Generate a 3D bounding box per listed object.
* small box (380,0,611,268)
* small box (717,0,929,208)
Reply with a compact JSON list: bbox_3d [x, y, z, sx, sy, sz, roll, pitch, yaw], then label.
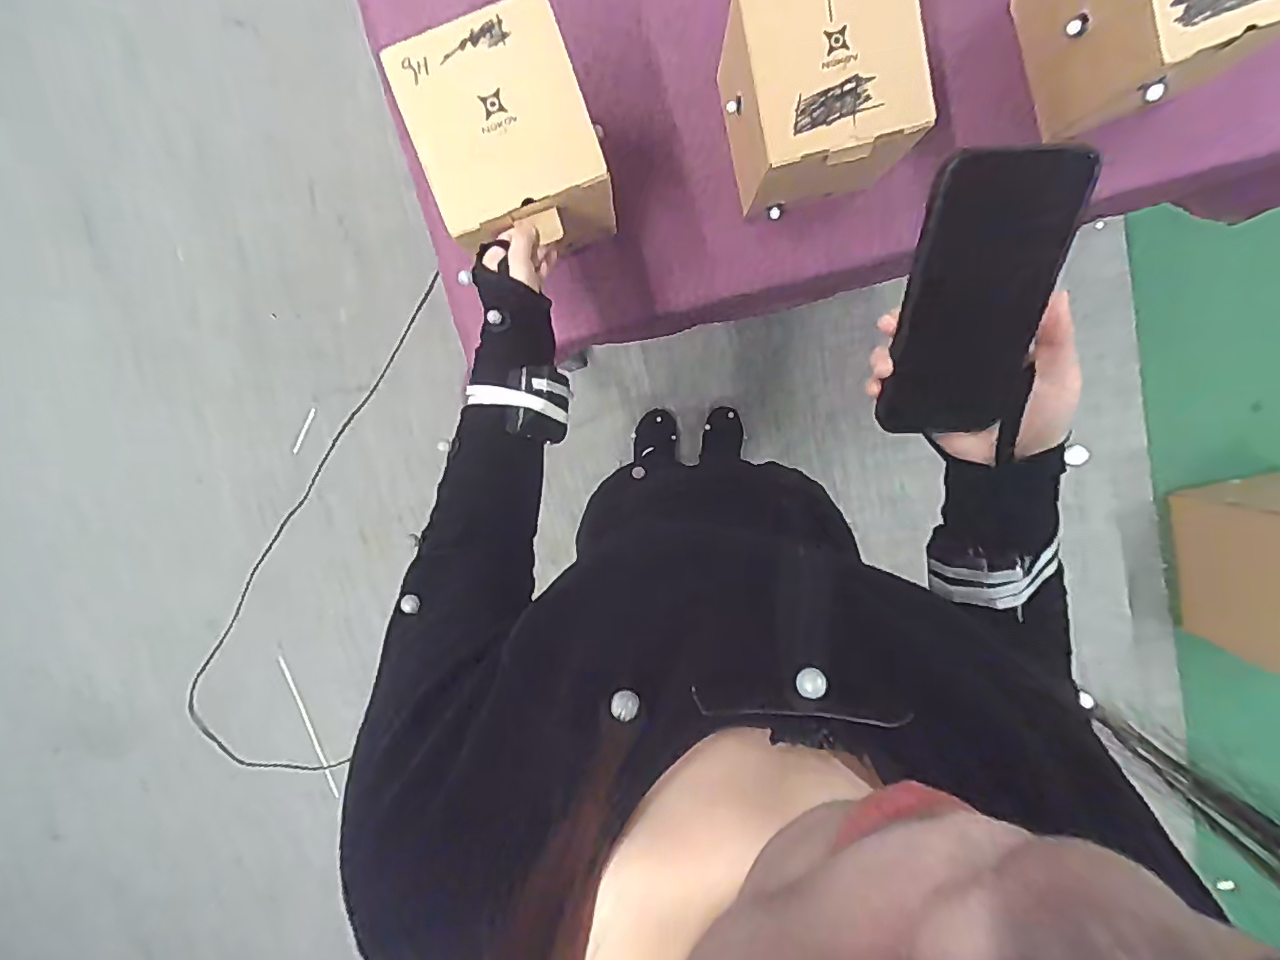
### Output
[{"bbox_3d":[-0.137,-0.349,0.587,0.168,0.176,0.179,-19,97,3],"label":"small box"},{"bbox_3d":[0.188,-0.424,0.599,0.168,0.176,0.179,-13,97,4],"label":"small box"}]
